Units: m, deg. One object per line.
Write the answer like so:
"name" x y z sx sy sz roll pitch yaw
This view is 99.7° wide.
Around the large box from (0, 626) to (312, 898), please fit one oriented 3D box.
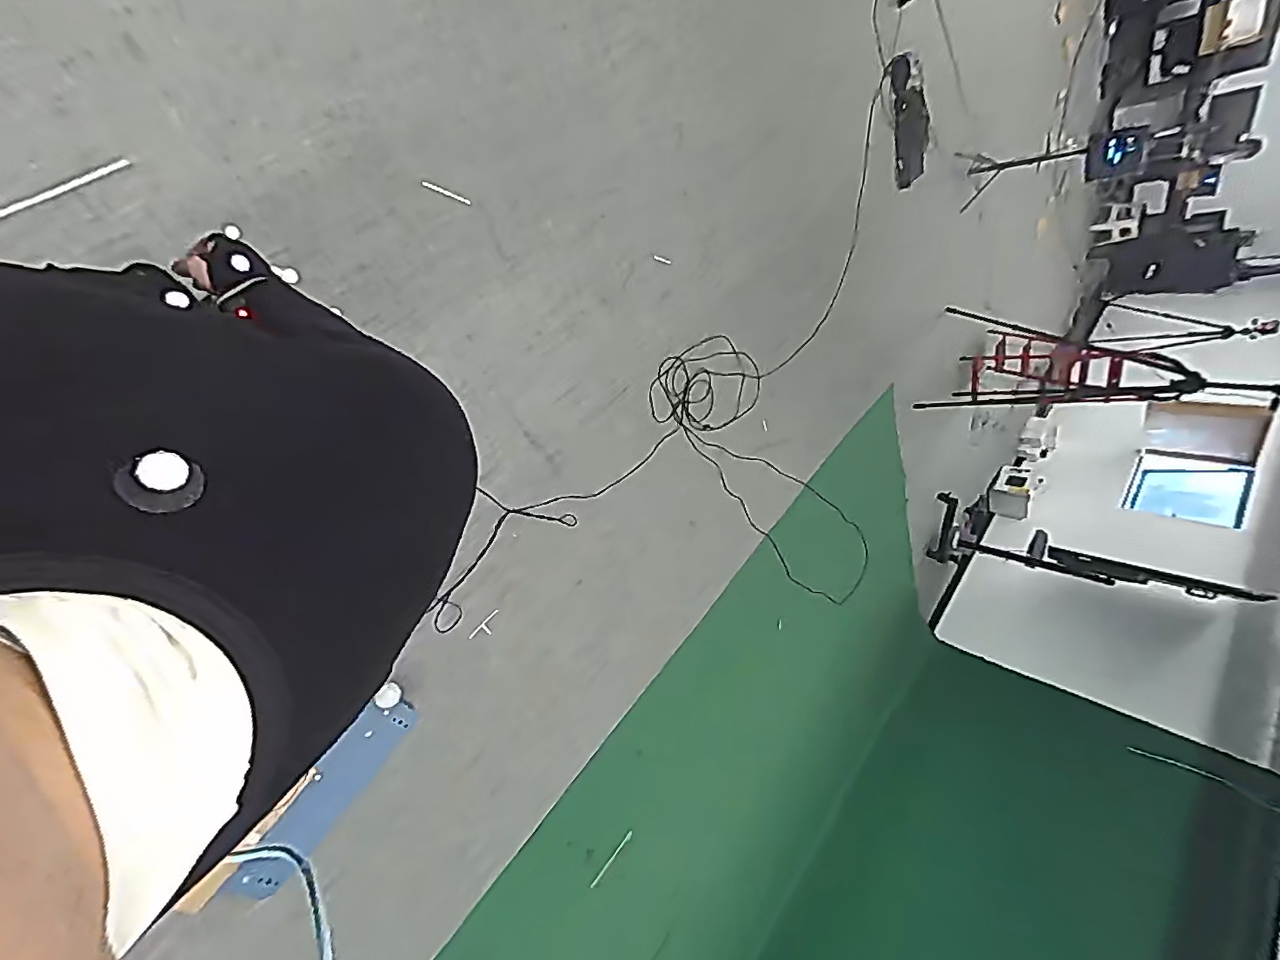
"large box" -0.994 0.565 1.104 0.320 0.320 0.408 -51 133 -21
